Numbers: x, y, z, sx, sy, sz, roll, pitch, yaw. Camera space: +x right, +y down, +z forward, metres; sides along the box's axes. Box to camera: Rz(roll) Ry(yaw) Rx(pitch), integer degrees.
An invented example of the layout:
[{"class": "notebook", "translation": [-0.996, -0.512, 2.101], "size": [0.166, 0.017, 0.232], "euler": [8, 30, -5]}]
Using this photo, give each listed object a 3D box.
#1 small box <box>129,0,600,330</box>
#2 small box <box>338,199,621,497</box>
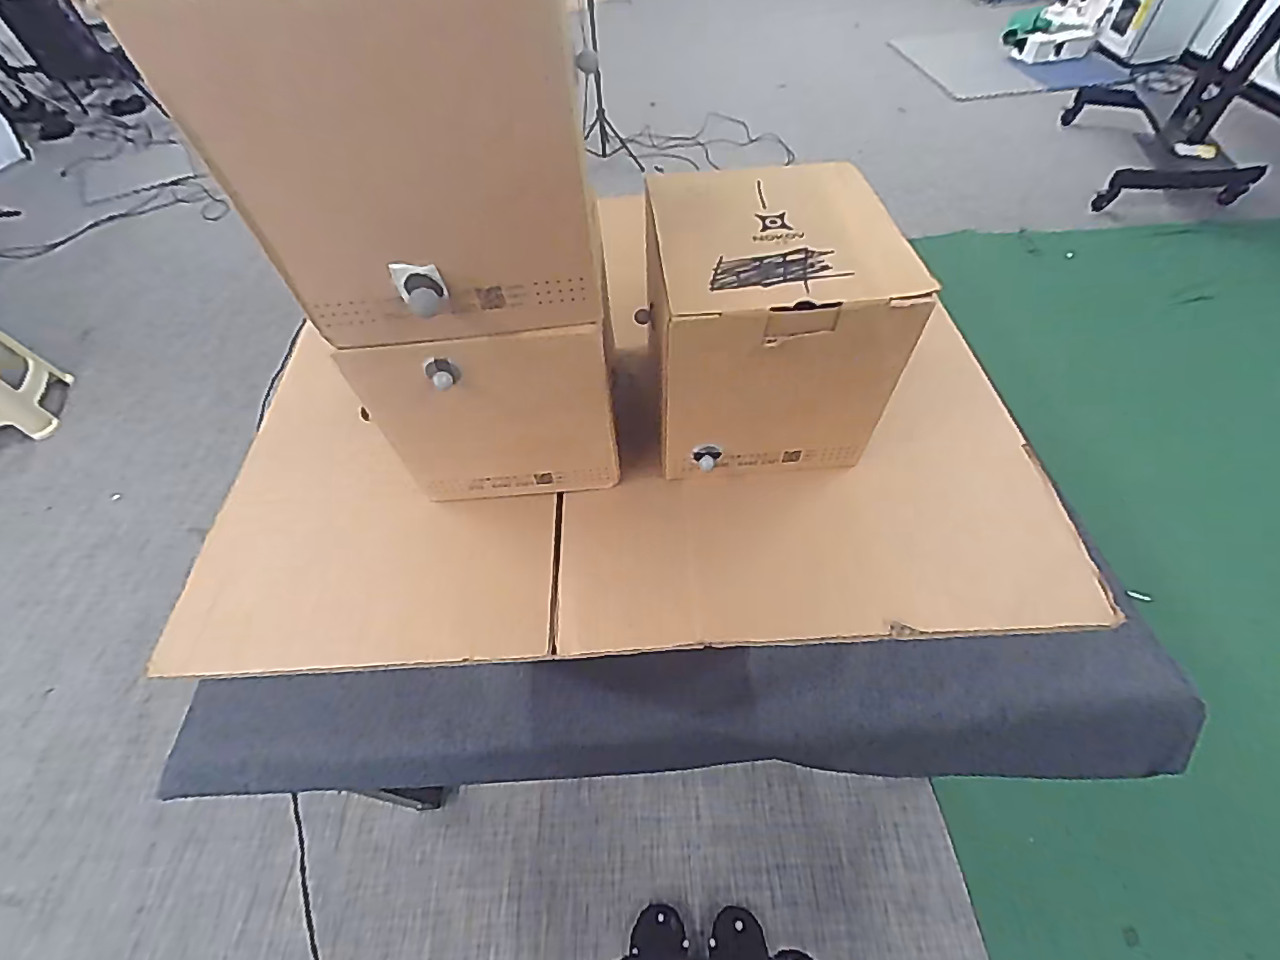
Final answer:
[{"class": "small box", "translation": [-0.117, -0.212, 0.307], "size": [0.168, 0.176, 0.179], "euler": [-8, 56, -1]}, {"class": "small box", "translation": [-0.107, -0.107, 0.450], "size": [0.168, 0.176, 0.179], "euler": [-5, 53, 2]}]
